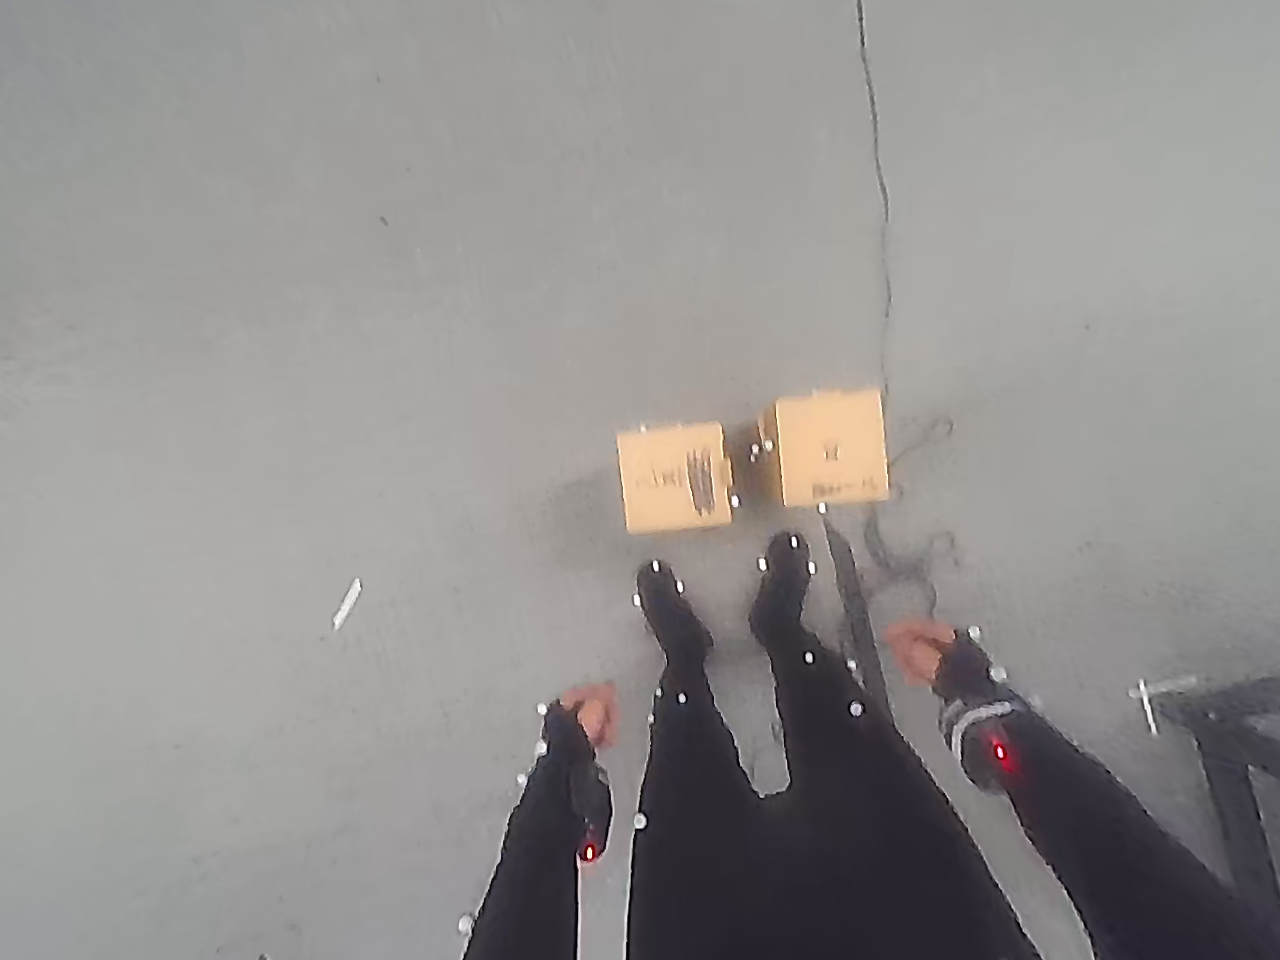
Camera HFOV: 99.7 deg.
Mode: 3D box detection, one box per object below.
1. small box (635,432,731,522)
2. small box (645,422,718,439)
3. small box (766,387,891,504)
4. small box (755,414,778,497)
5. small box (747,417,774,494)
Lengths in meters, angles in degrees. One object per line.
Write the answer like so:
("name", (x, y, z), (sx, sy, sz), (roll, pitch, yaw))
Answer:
("small box", (0.090, -0.009, 1.124), (0.179, 0.176, 0.168), (-6, 92, 7))
("small box", (0.111, -0.033, 1.285), (0.168, 0.176, 0.179), (-10, 92, 7))
("small box", (0.316, -0.054, 0.936), (0.168, 0.176, 0.179), (-6, 91, 7))
("small box", (0.336, -0.064, 1.099), (0.179, 0.176, 0.168), (-13, 91, 8))
("small box", (0.353, -0.073, 1.260), (0.168, 0.176, 0.179), (-14, 91, 7))
